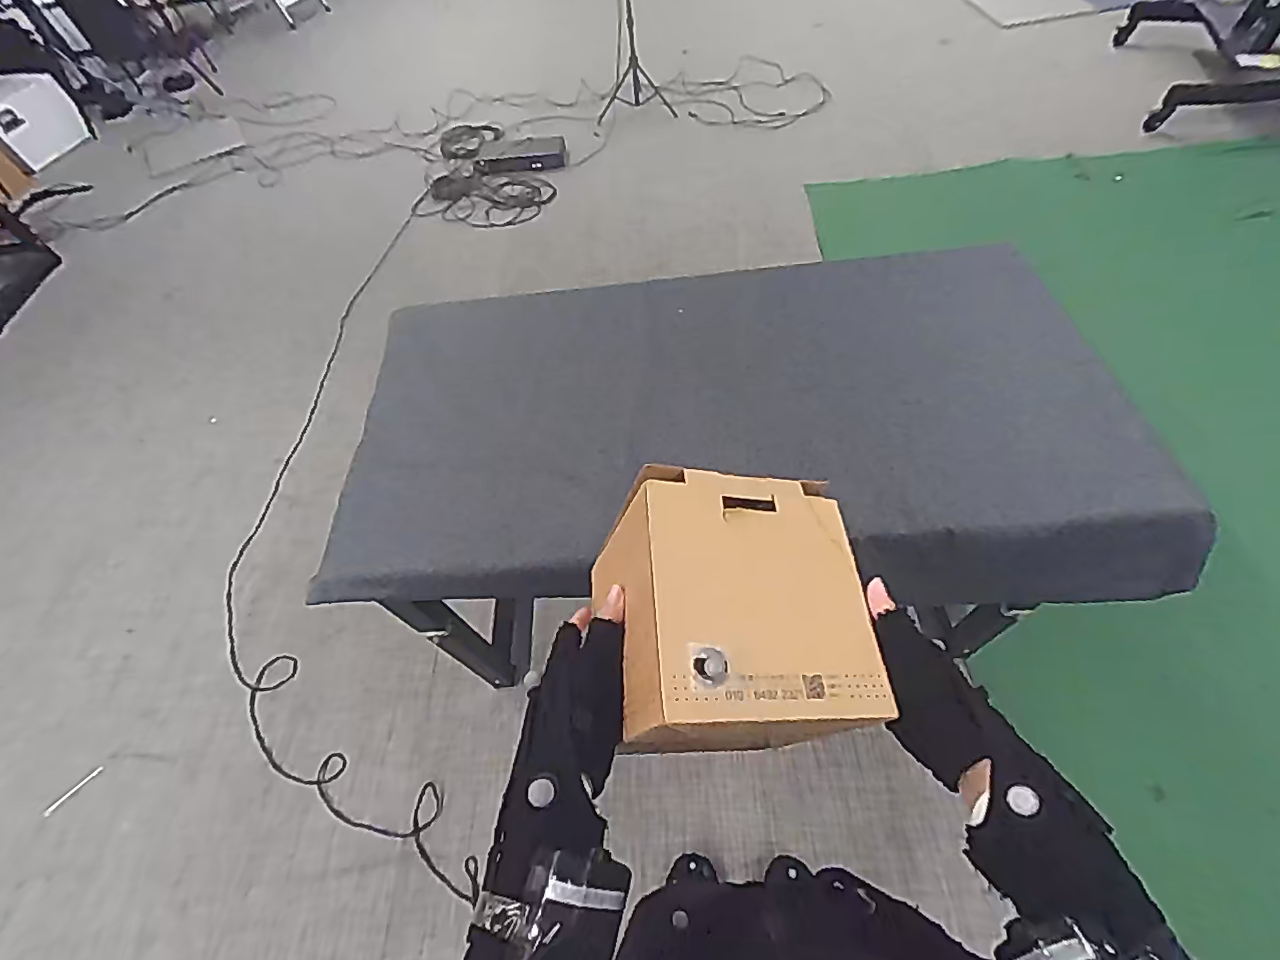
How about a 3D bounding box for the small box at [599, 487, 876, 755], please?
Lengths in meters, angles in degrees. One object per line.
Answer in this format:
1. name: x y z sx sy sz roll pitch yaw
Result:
1. small box: 0.065 0.126 0.457 0.168 0.179 0.176 6 56 -15
